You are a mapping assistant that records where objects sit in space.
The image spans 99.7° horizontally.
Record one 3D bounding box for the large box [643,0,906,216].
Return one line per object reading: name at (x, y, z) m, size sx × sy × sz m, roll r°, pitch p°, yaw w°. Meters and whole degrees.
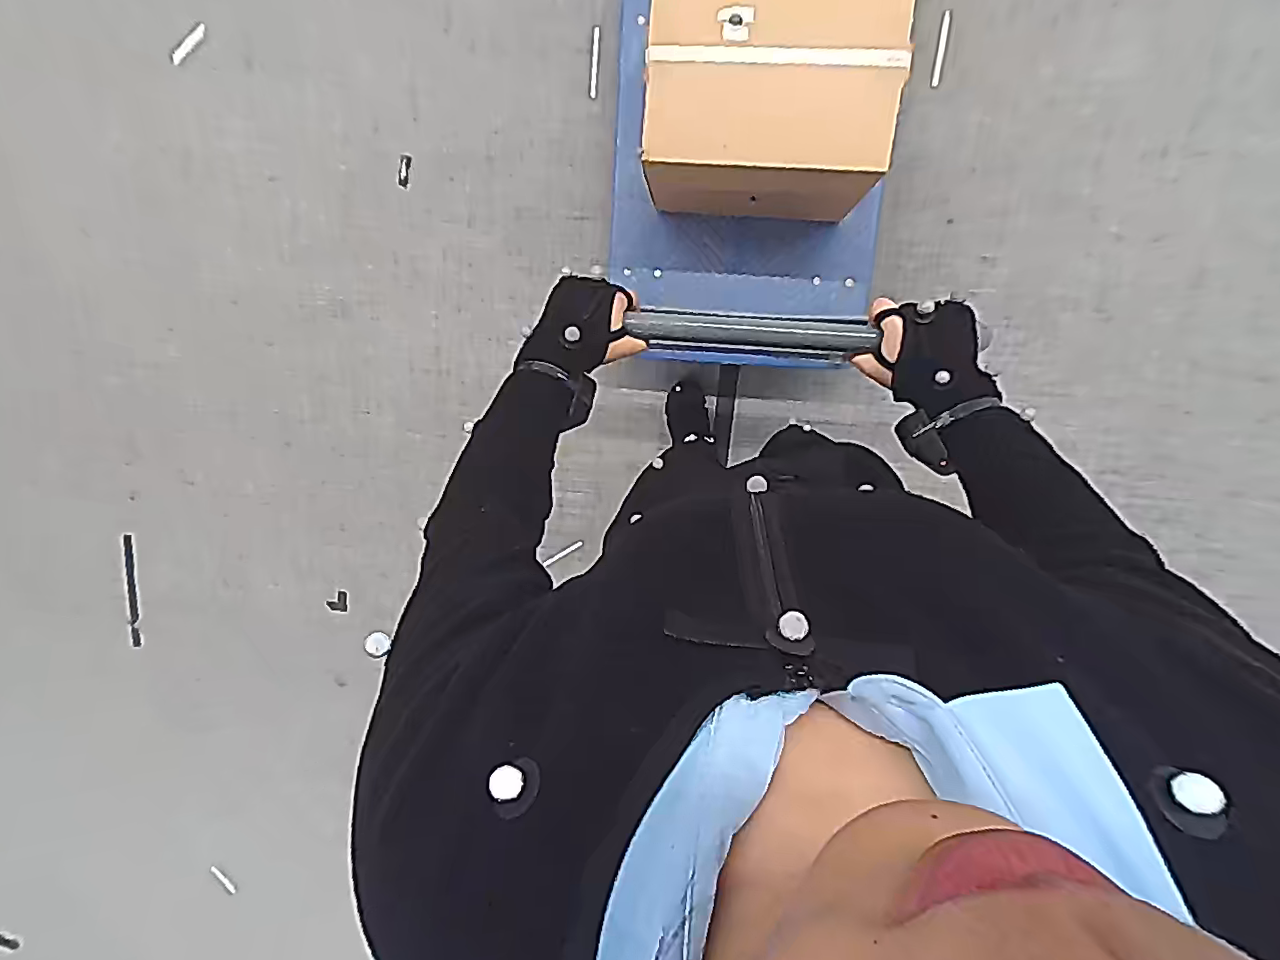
large box at (0.230, -0.703, 1.018) m, size 0.408 × 0.320 × 0.320 m, roll 6°, pitch 101°, yaw 6°
